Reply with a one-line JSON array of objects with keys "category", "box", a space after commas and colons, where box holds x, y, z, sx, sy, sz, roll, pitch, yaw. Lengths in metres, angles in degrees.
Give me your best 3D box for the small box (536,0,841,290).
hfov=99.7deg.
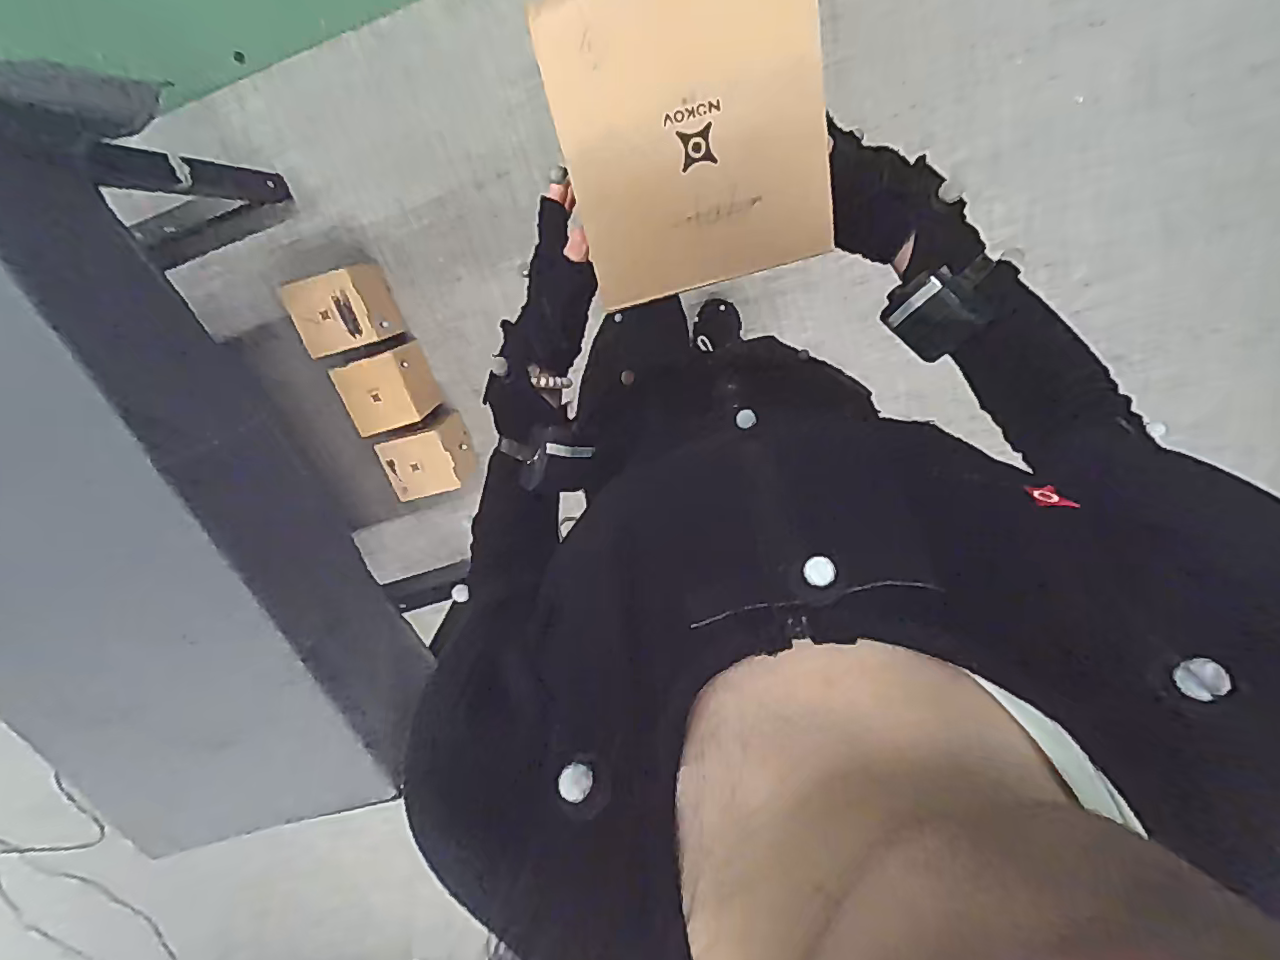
[{"category": "small box", "box": [0.029, -0.255, 0.394, 0.168, 0.176, 0.179, -14, 118, 2]}]
